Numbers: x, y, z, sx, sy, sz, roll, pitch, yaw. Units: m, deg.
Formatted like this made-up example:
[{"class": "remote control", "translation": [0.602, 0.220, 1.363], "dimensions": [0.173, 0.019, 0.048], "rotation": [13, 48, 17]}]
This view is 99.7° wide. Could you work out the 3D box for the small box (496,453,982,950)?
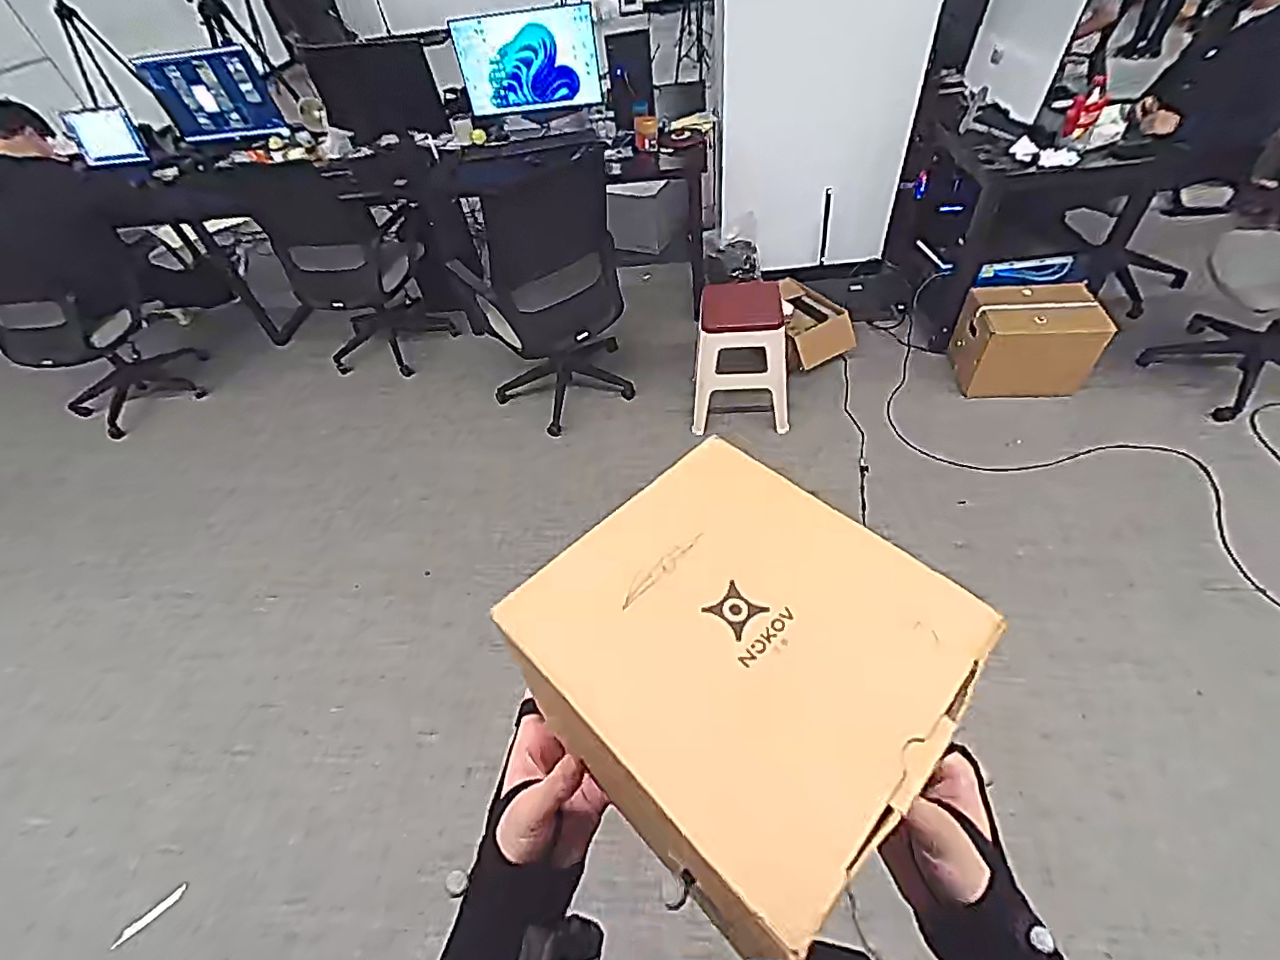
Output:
[{"class": "small box", "translation": [0.049, 0.123, 0.320], "dimensions": [0.179, 0.176, 0.168], "rotation": [35, 59, 29]}]
